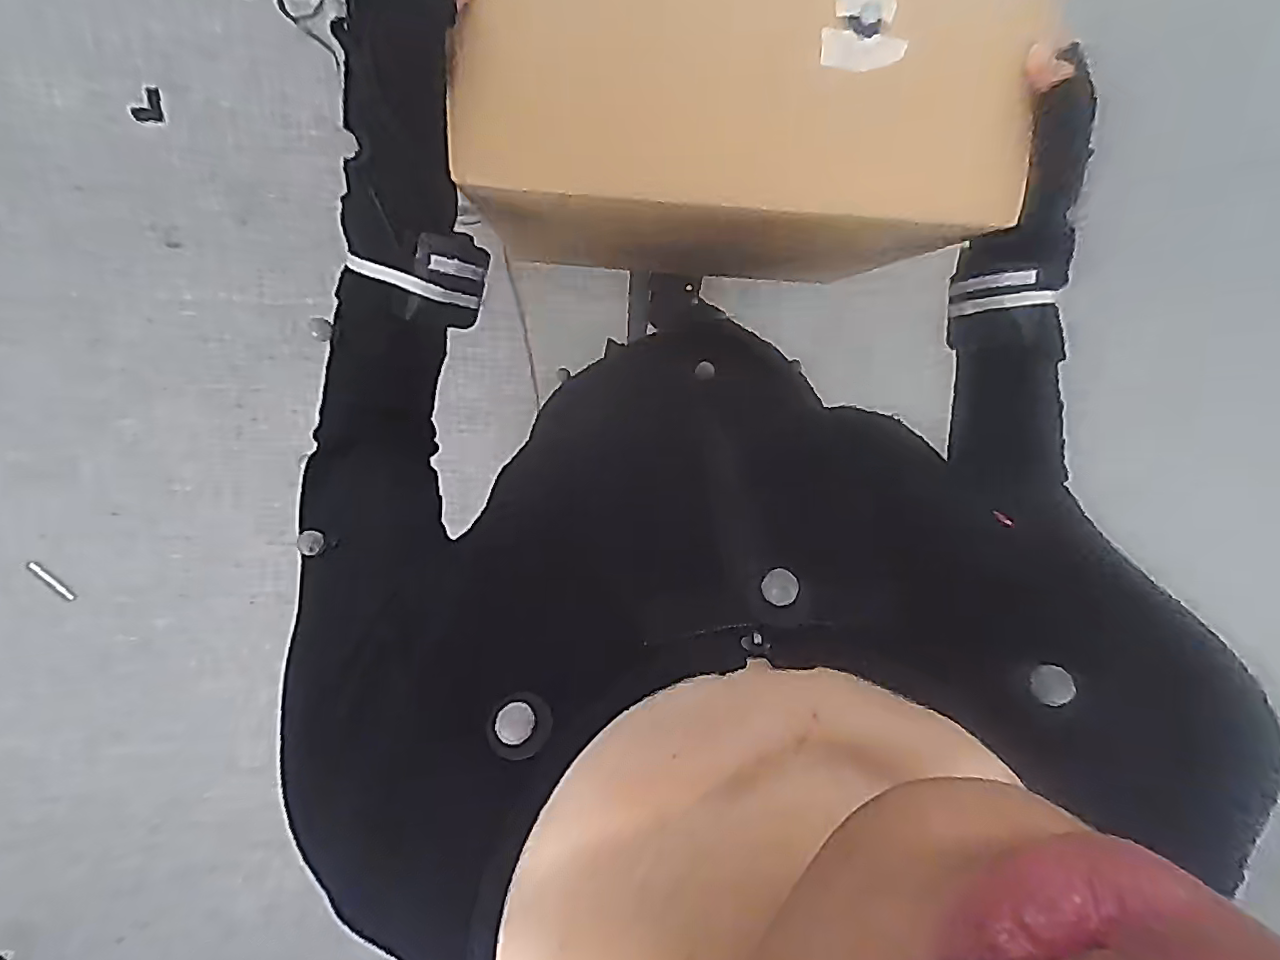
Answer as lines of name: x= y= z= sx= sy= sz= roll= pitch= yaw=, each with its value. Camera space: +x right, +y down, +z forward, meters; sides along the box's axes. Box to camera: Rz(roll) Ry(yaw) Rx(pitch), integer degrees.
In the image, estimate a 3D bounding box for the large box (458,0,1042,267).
large box: x=0.066 y=-0.391 z=0.496 sx=0.408 sy=0.320 sz=0.320 roll=1 pitch=102 yaw=-6
